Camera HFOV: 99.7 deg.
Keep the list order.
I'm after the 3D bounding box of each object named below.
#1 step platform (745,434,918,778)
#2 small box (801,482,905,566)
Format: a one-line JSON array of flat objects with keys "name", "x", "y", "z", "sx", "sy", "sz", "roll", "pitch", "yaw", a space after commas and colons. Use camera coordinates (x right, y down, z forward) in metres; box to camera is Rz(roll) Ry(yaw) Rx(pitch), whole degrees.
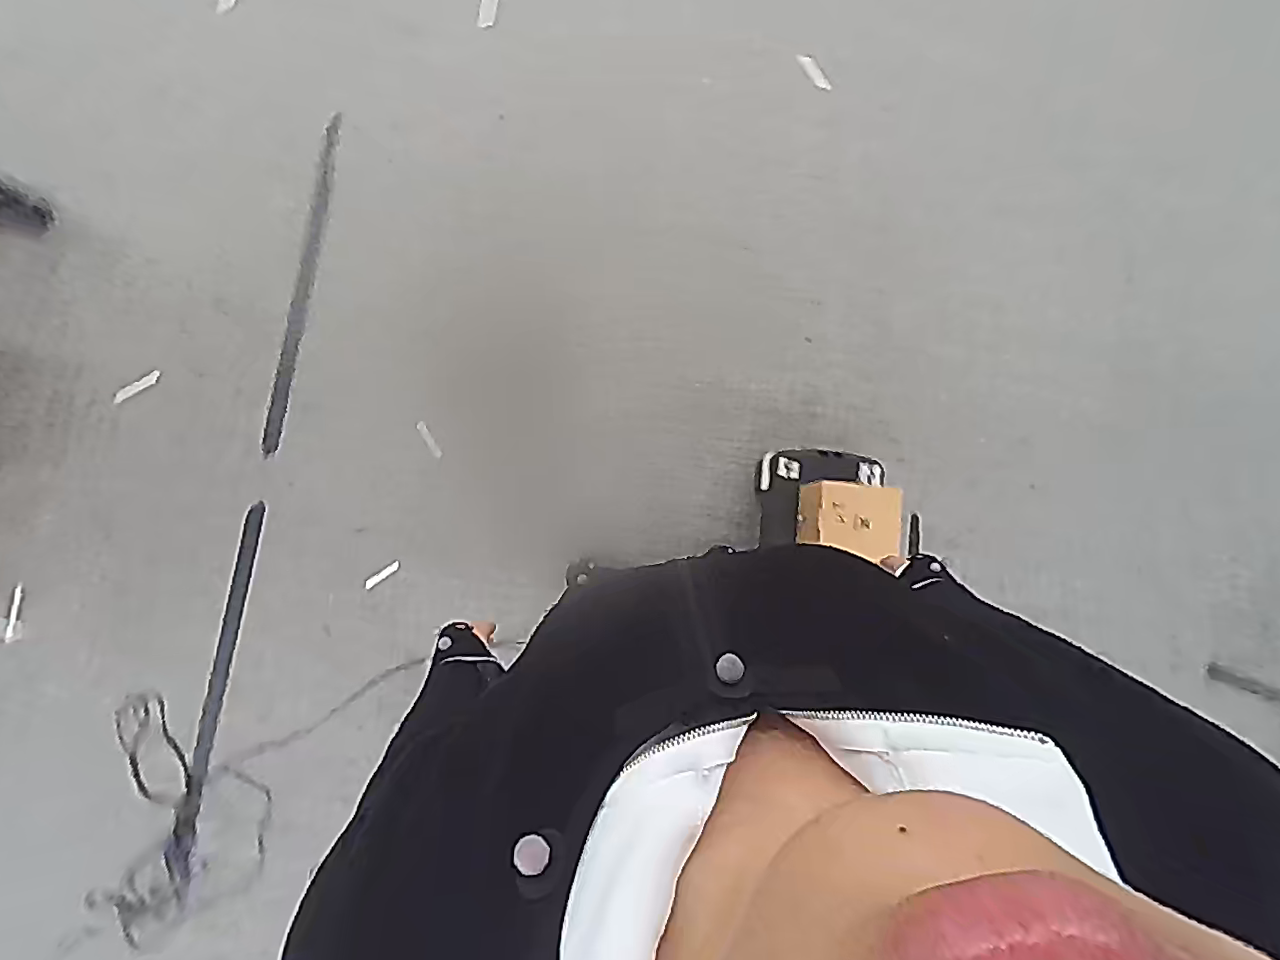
[{"name": "step platform", "x": 0.407, "y": 0.253, "z": 1.183, "sx": 0.286, "sy": 0.204, "sz": 0.684, "roll": 6, "pitch": 85, "yaw": 0}, {"name": "small box", "x": 0.473, "y": 0.099, "z": 1.232, "sx": 0.179, "sy": 0.176, "sz": 0.168, "roll": 6, "pitch": 85, "yaw": 1}]
